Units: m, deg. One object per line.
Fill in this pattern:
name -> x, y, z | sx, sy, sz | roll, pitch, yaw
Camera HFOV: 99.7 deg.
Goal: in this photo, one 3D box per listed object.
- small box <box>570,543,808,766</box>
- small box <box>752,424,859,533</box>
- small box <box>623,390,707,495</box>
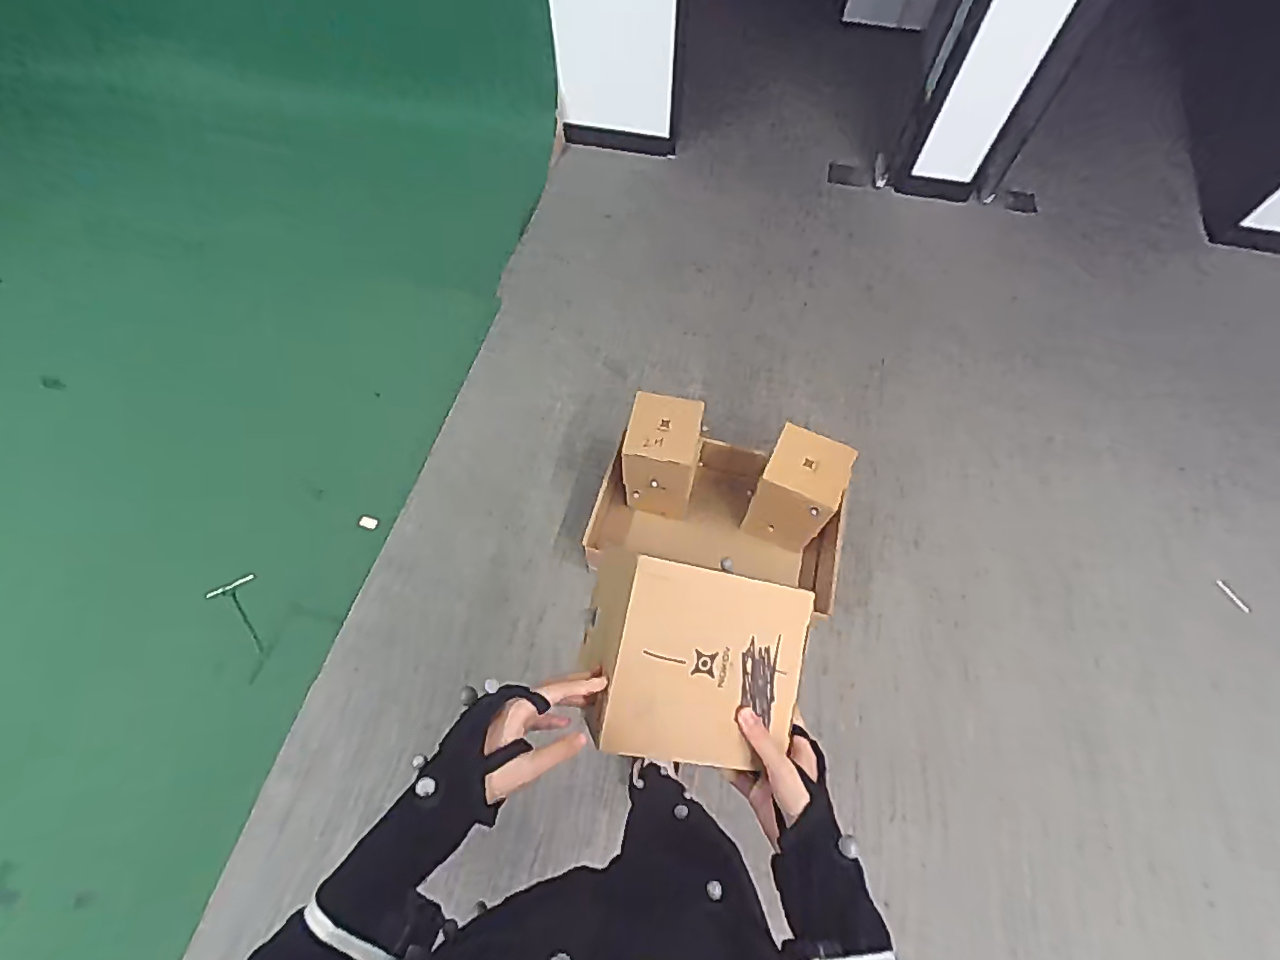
small box -> 0.038, 0.161, 0.550 | 0.179, 0.176, 0.168 | 14, 82, -12
small box -> 0.382, 0.004, 1.275 | 0.179, 0.176, 0.168 | 25, 67, 11
small box -> 0.059, -0.087, 1.316 | 0.168, 0.176, 0.179 | 12, 65, 7
